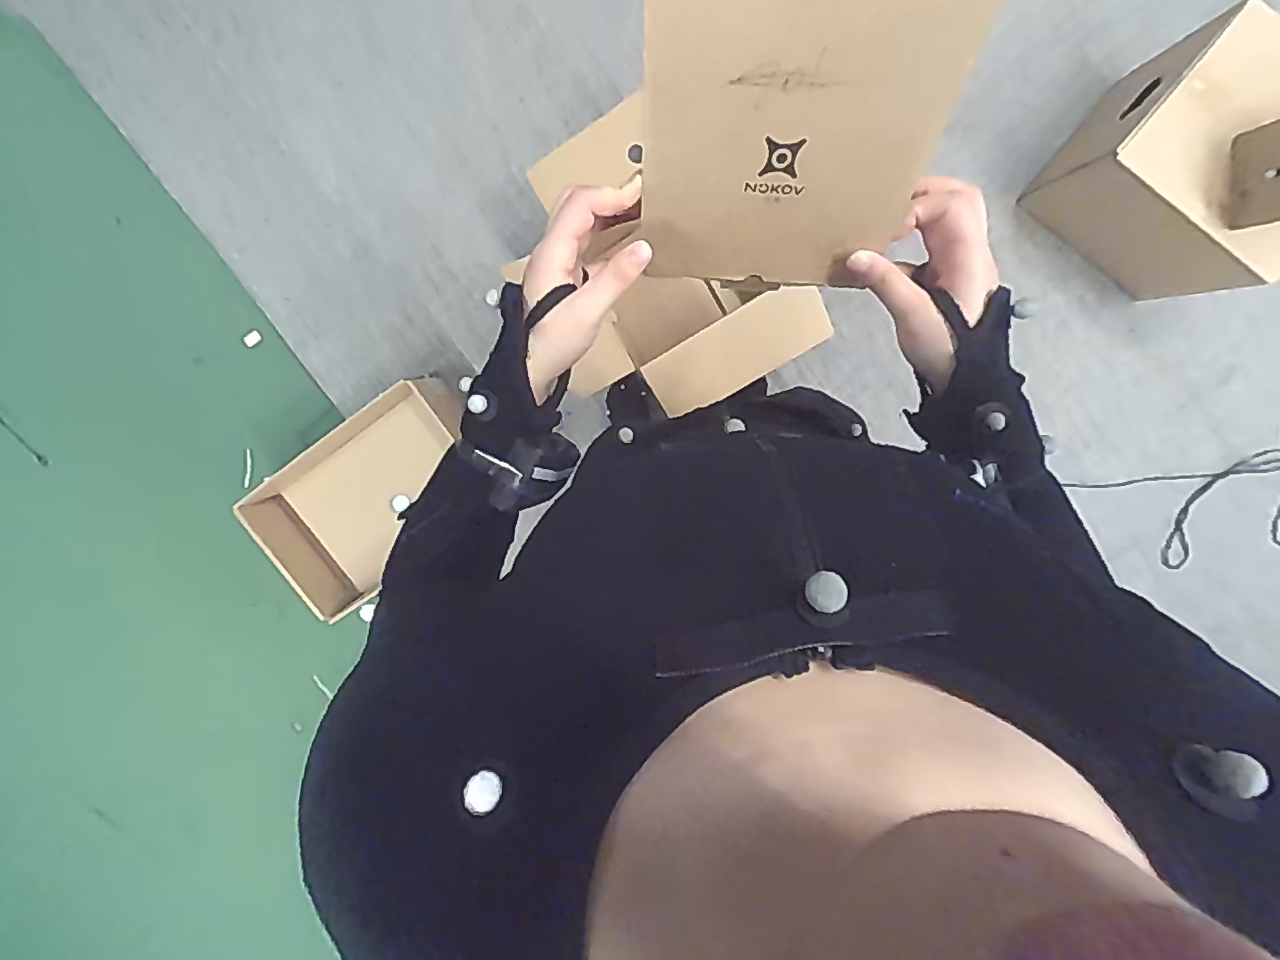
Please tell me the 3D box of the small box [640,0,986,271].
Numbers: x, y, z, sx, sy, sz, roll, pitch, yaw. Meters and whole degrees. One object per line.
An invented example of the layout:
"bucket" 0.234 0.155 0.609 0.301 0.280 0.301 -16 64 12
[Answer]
"small box" 0.089 -0.270 0.360 0.168 0.179 0.176 4 60 2

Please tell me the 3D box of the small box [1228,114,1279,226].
"small box" 1.156 -0.547 0.909 0.179 0.176 0.168 -12 102 8
